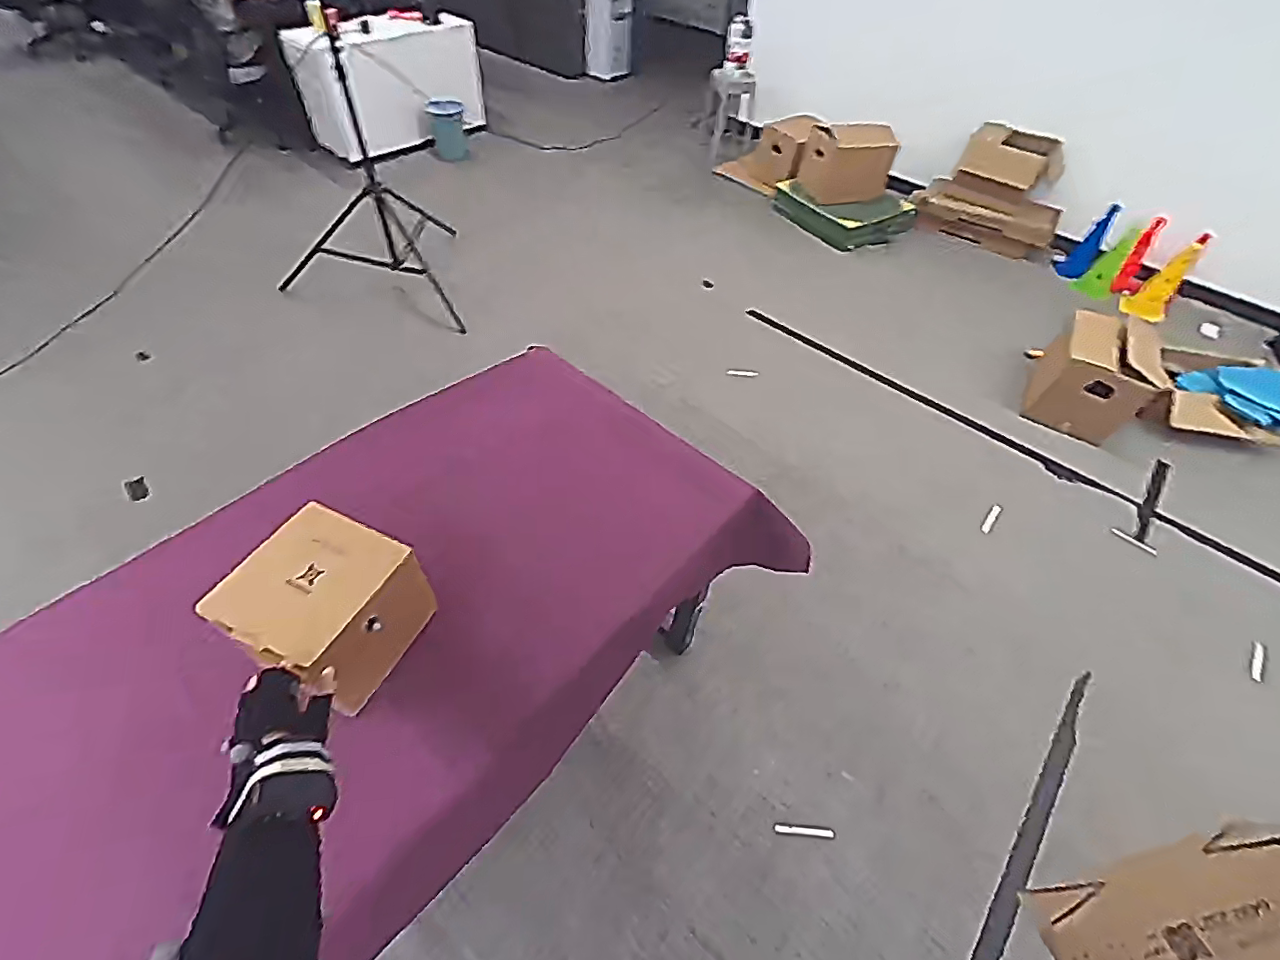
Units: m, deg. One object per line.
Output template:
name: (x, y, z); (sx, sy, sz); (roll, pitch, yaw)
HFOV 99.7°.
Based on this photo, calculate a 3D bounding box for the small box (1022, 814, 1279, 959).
small box: (0.352, 0.304, 0.300); (0.168, 0.179, 0.176); (-31, 52, 12)

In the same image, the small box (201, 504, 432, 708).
small box: (-0.402, 0.170, 0.713); (0.168, 0.176, 0.179); (22, 52, 11)
